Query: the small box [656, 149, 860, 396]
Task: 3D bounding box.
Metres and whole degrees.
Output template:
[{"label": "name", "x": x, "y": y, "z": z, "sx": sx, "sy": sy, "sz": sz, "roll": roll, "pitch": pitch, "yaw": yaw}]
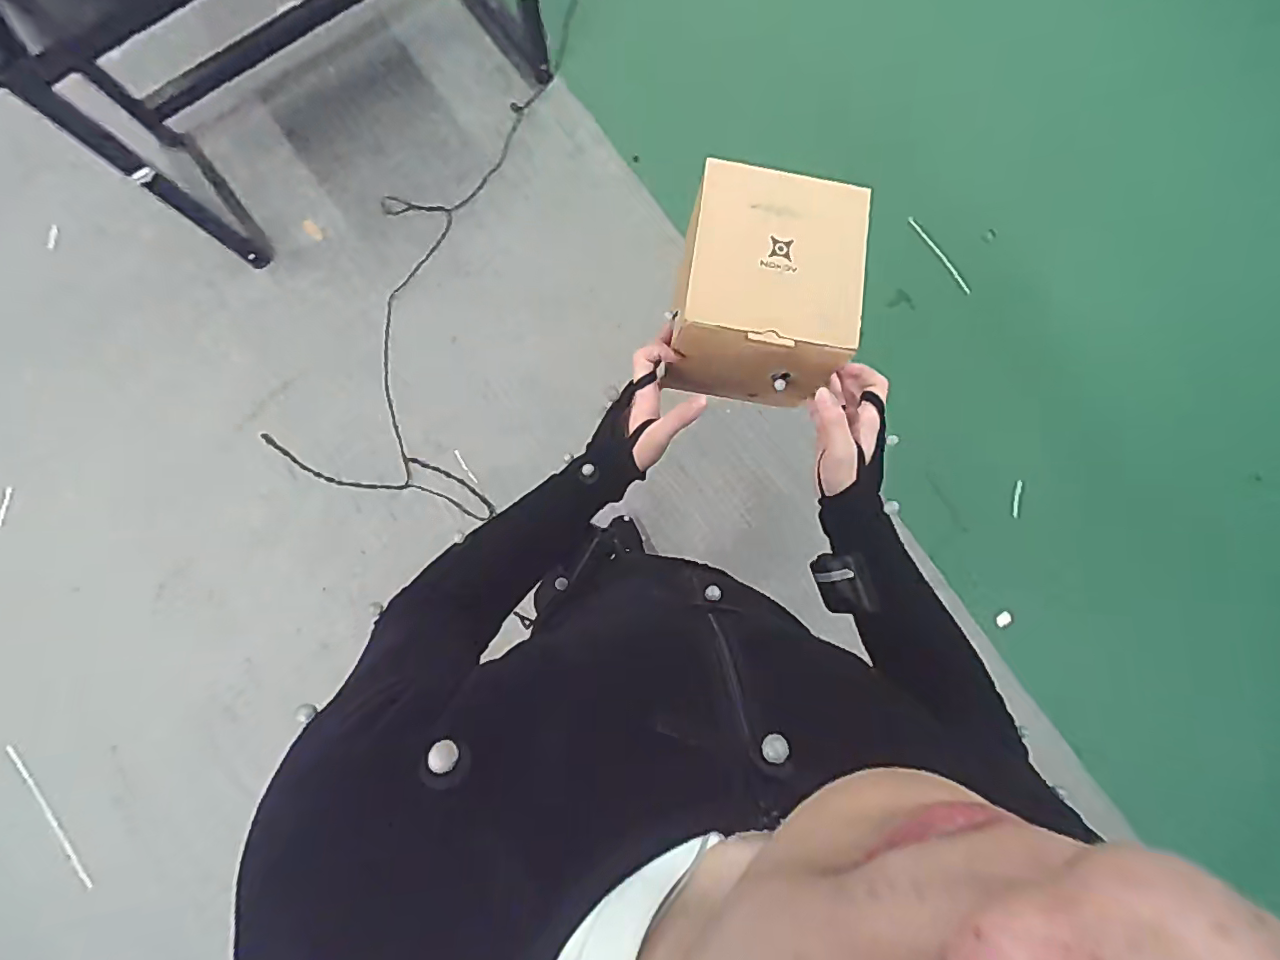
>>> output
[{"label": "small box", "x": 0.113, "y": -0.205, "z": 0.581, "sx": 0.168, "sy": 0.176, "sz": 0.179, "roll": 10, "pitch": 79, "yaw": -2}]
